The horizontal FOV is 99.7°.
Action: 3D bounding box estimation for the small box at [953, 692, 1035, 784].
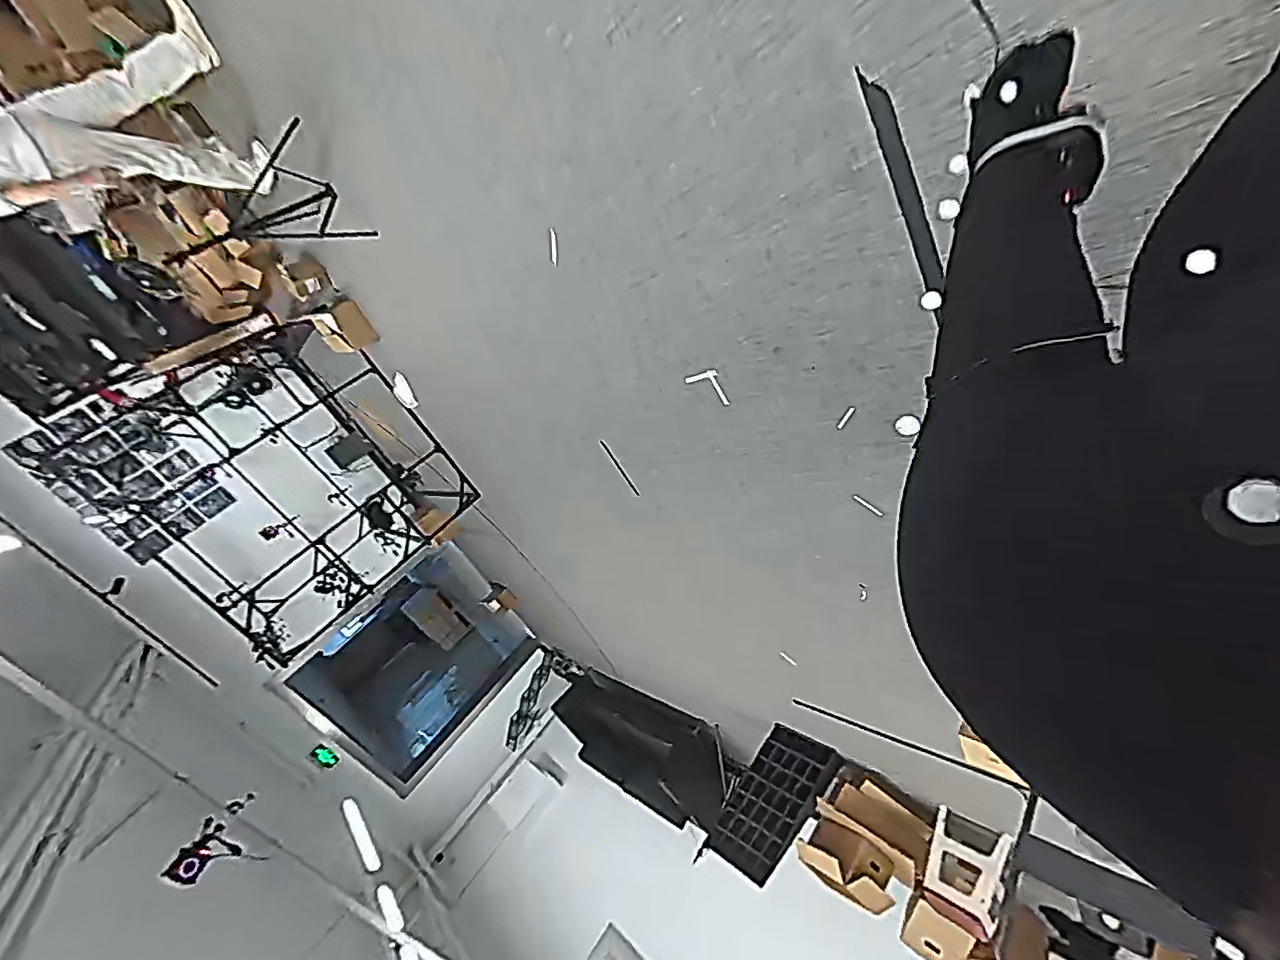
[{"bbox_3d":[1.118,0.802,1.698,0.179,0.176,0.168,8,136,49],"label":"small box"}]
